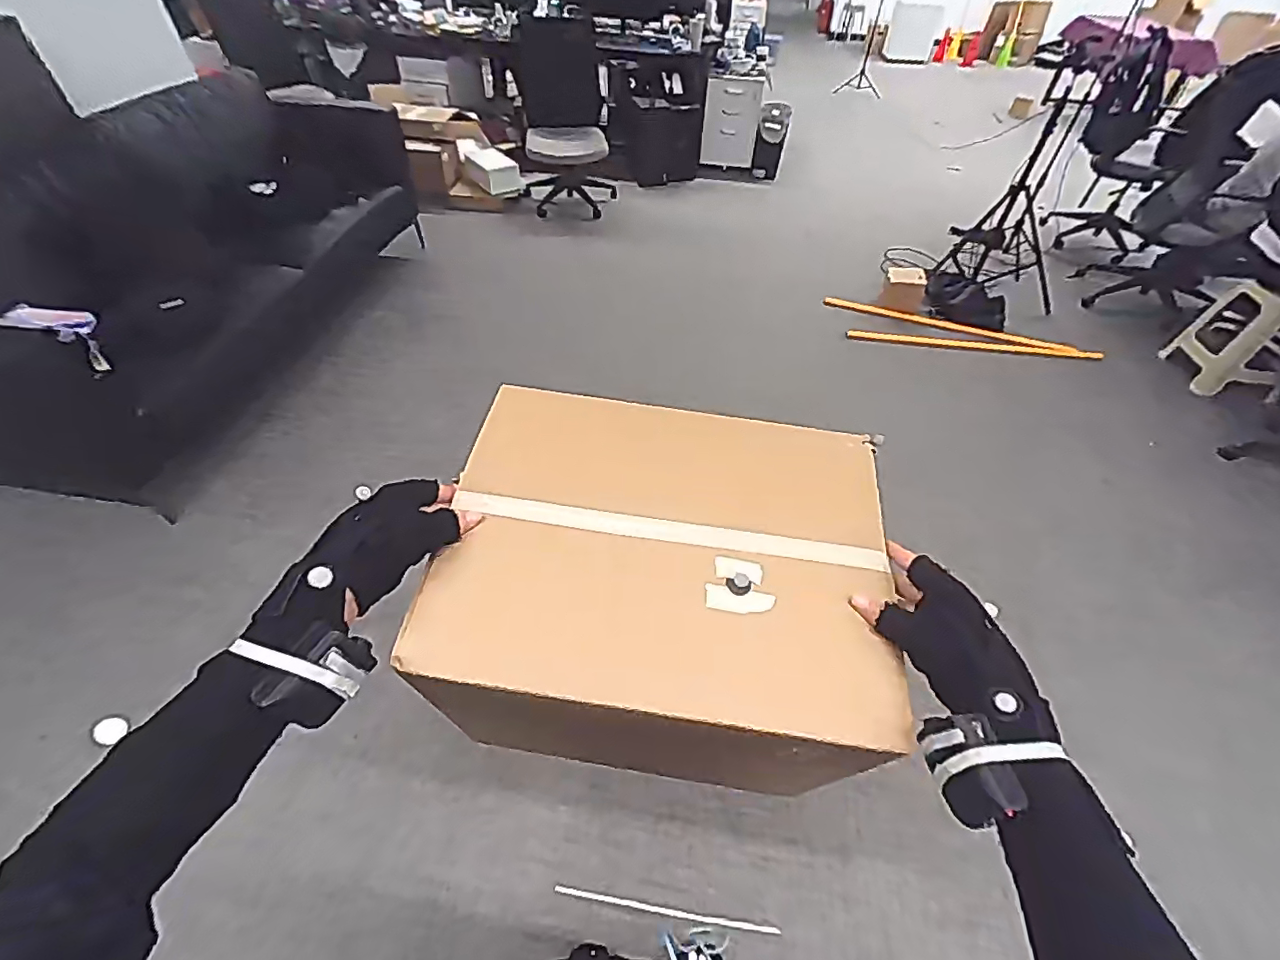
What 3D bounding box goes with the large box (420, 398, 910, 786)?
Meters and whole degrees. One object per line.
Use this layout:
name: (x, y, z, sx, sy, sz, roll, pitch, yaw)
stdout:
large box: (0.025, 0.141, 0.634, 0.408, 0.320, 0.320, 9, 55, 2)
